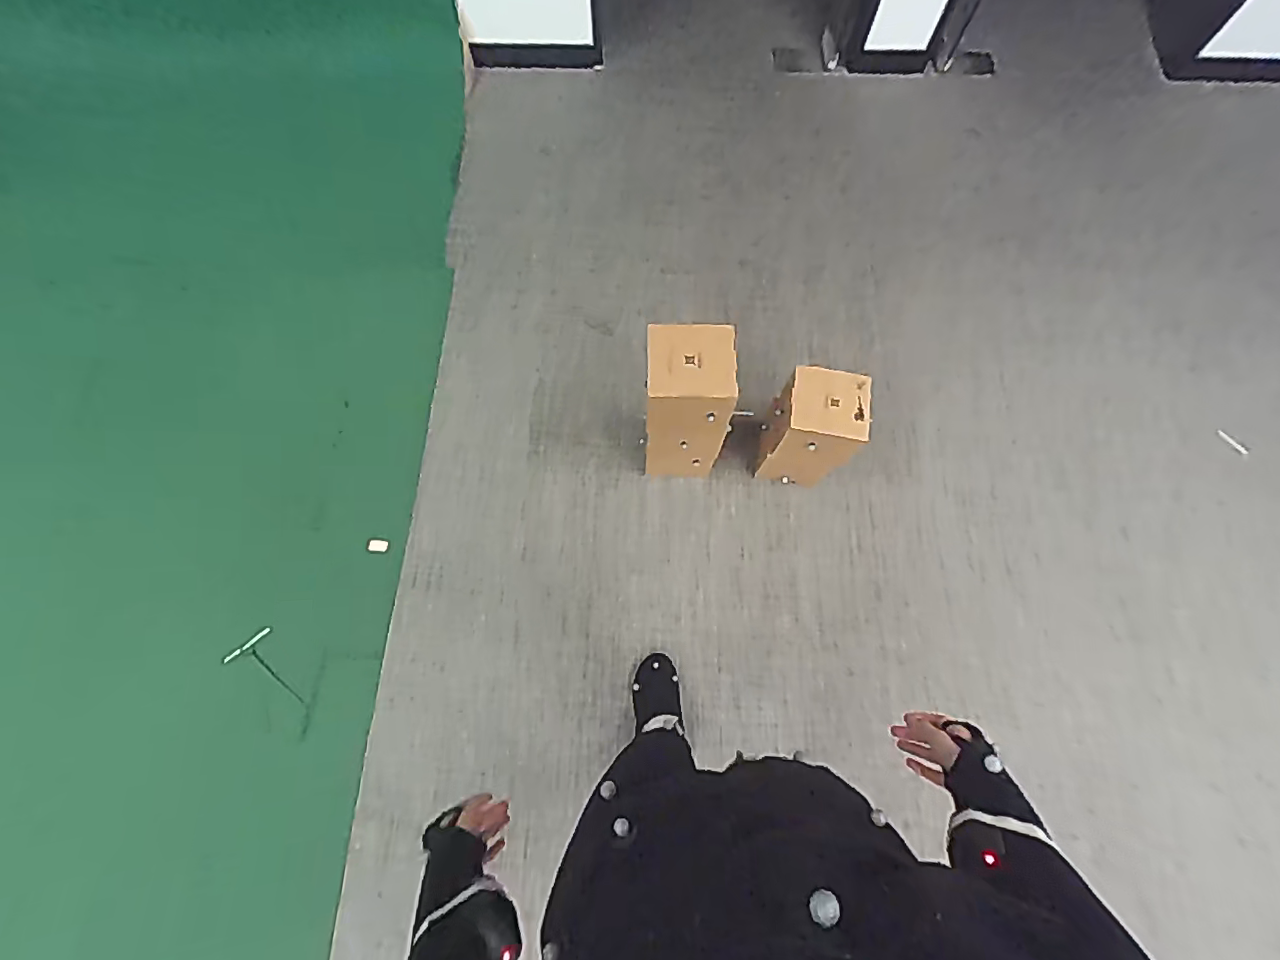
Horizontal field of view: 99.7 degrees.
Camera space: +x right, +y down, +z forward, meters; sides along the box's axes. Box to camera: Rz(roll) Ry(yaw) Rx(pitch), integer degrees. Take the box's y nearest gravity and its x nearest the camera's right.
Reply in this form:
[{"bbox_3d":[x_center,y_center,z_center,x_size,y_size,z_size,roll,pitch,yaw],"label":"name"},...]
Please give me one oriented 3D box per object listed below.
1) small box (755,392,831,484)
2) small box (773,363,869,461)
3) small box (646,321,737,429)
[{"bbox_3d":[0.410,-0.107,1.444,0.168,0.176,0.179,10,72,4],"label":"small box"},{"bbox_3d":[0.424,-0.155,1.286,0.179,0.176,0.168,9,72,4],"label":"small box"},{"bbox_3d":[0.101,-0.214,1.132,0.179,0.176,0.168,0,71,1],"label":"small box"}]
